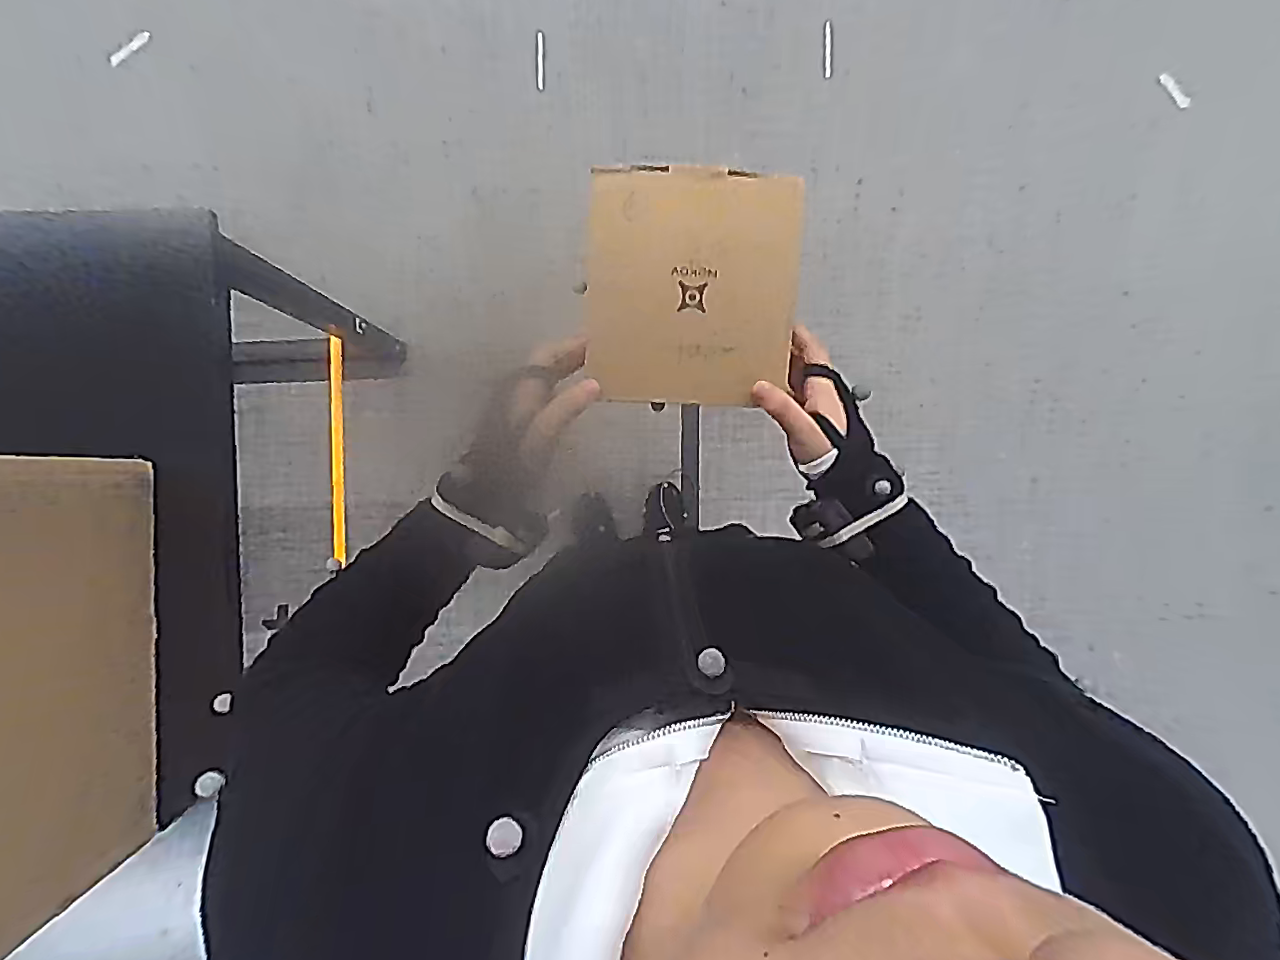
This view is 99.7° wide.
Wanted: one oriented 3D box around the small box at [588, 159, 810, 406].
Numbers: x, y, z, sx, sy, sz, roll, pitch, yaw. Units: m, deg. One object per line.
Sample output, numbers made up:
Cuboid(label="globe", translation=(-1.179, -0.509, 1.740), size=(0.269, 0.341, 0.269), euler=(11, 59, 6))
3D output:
Cuboid(label="small box", translation=(0.040, -0.165, 0.495), size=(0.168, 0.176, 0.179), euler=(2, 104, -3))
